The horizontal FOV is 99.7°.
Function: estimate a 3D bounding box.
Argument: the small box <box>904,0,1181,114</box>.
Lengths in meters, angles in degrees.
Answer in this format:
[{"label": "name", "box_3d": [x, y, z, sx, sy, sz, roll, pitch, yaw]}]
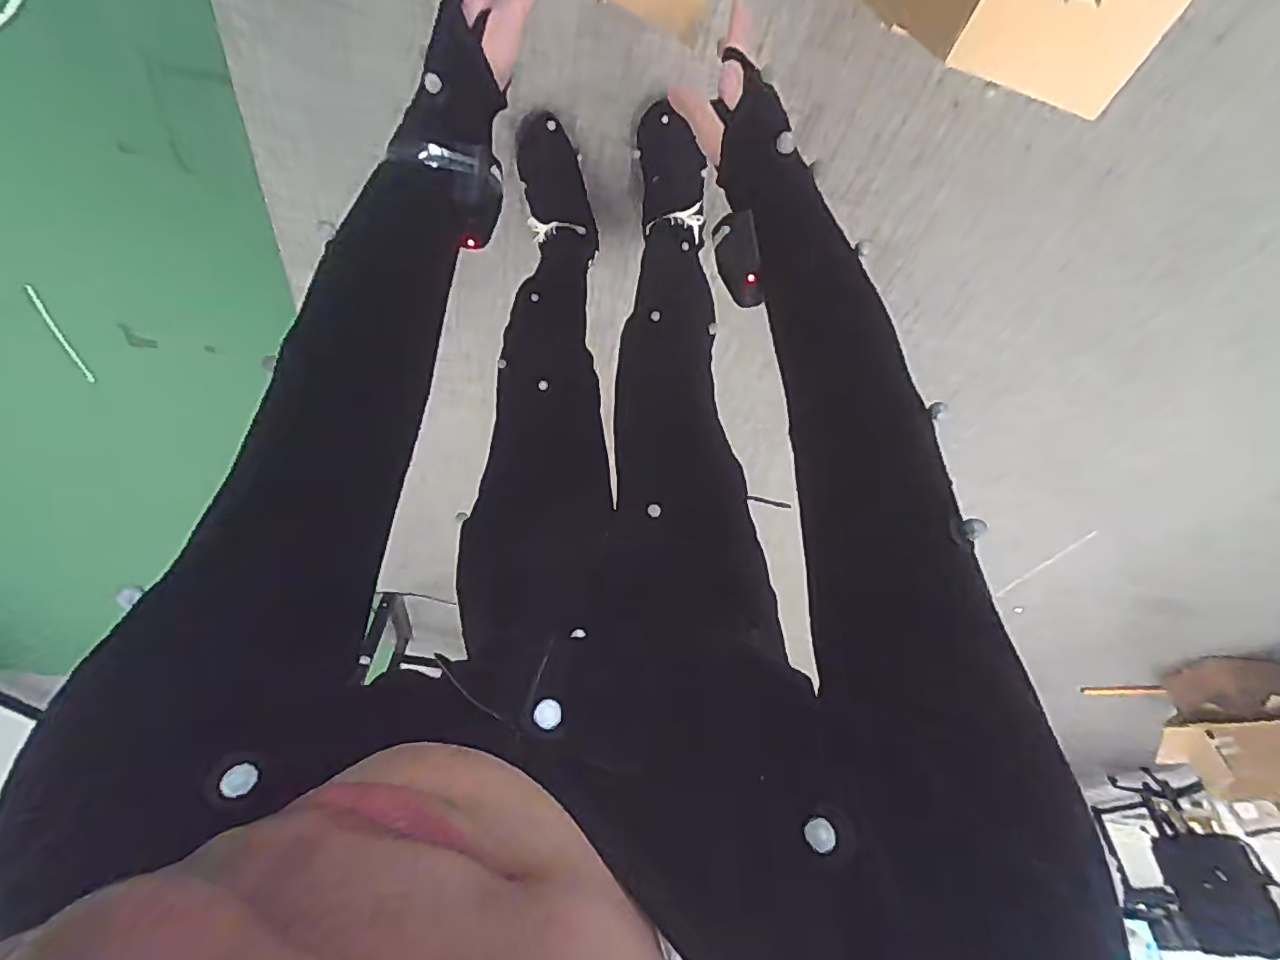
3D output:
[{"label": "small box", "box_3d": [0.391, -0.491, 0.515, 0.179, 0.176, 0.168, 13, 139, -9]}]

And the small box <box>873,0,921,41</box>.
[{"label": "small box", "box_3d": [0.391, -0.615, 0.620, 0.168, 0.176, 0.179, 13, 138, -10]}]
